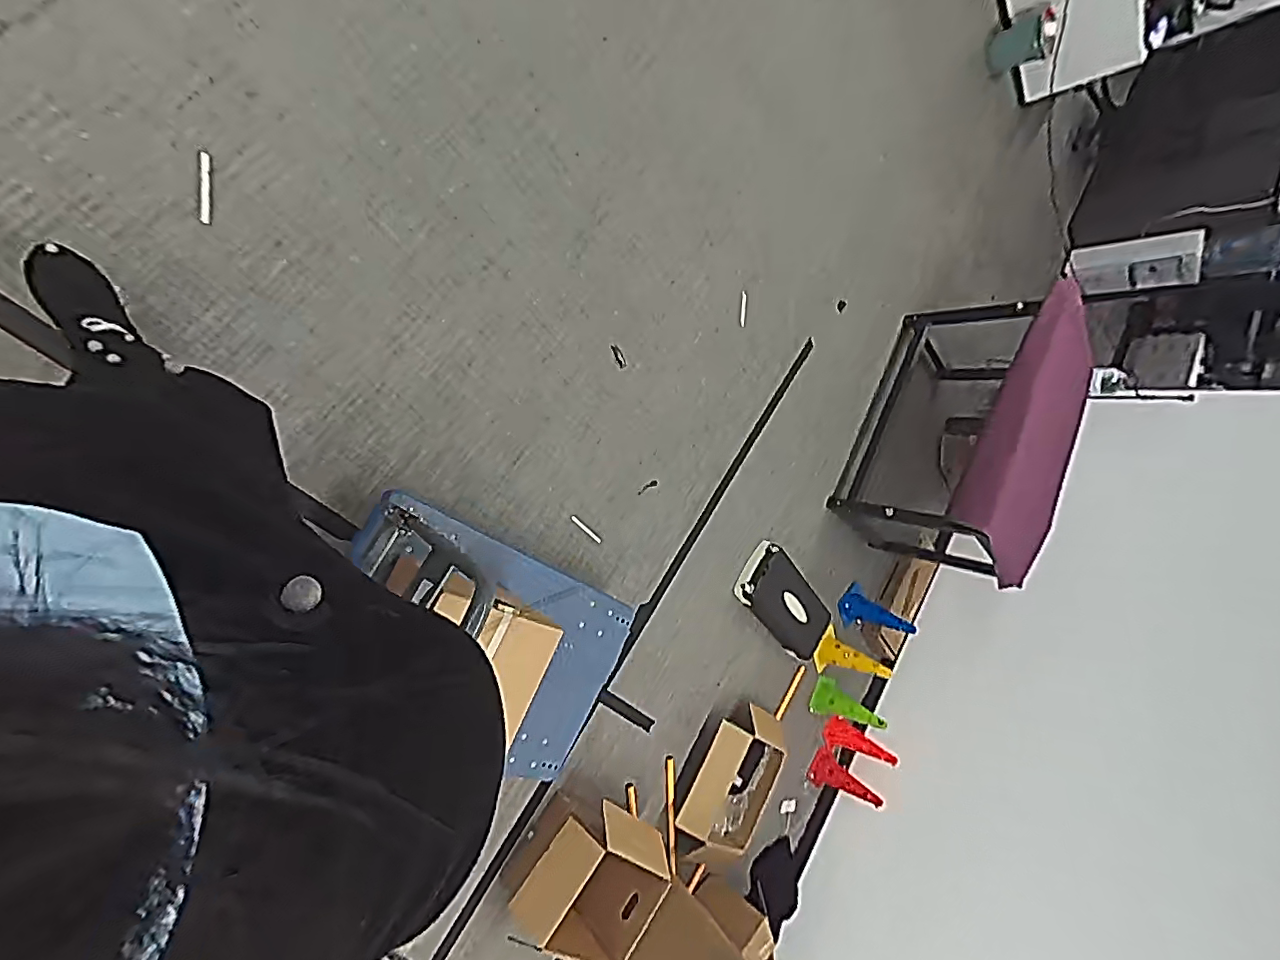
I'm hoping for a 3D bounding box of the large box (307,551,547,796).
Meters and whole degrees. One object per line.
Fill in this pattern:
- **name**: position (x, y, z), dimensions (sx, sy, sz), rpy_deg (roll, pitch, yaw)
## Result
- **large box**: position (-0.482, 0.423, 1.226), dimensions (0.320, 0.320, 0.408), rpy_deg (32, 79, -37)
